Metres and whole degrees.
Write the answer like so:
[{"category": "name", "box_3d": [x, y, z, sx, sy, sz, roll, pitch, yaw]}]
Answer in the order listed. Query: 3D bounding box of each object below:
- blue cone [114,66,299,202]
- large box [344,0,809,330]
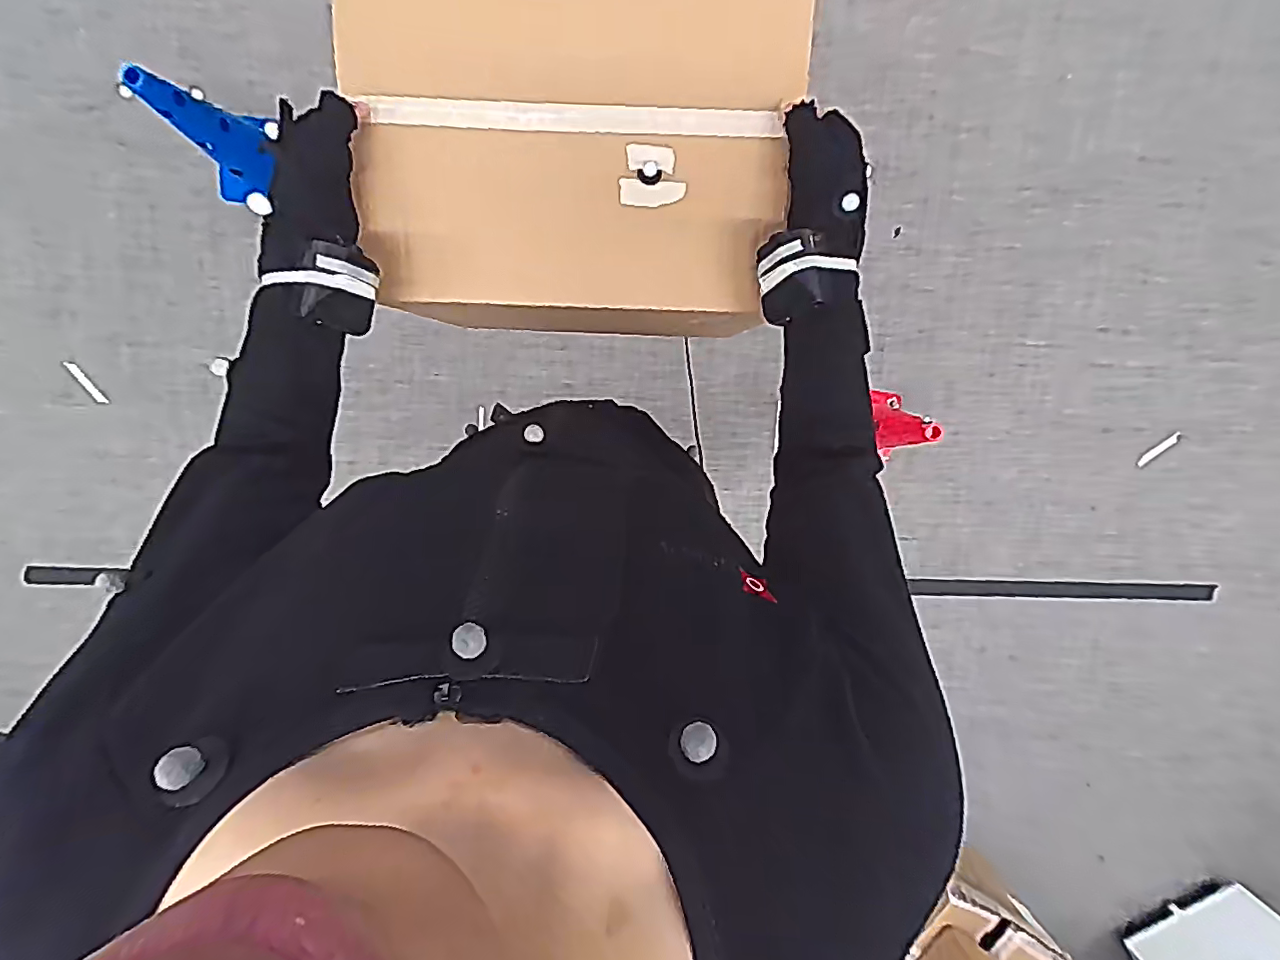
[{"category": "blue cone", "box_3d": [-0.935, -0.765, 1.170, 0.192, 0.380, 0.193, 6, 98, -2]}, {"category": "large box", "box_3d": [-0.060, -0.347, 0.623, 0.408, 0.320, 0.320, 1, 101, -2]}]
